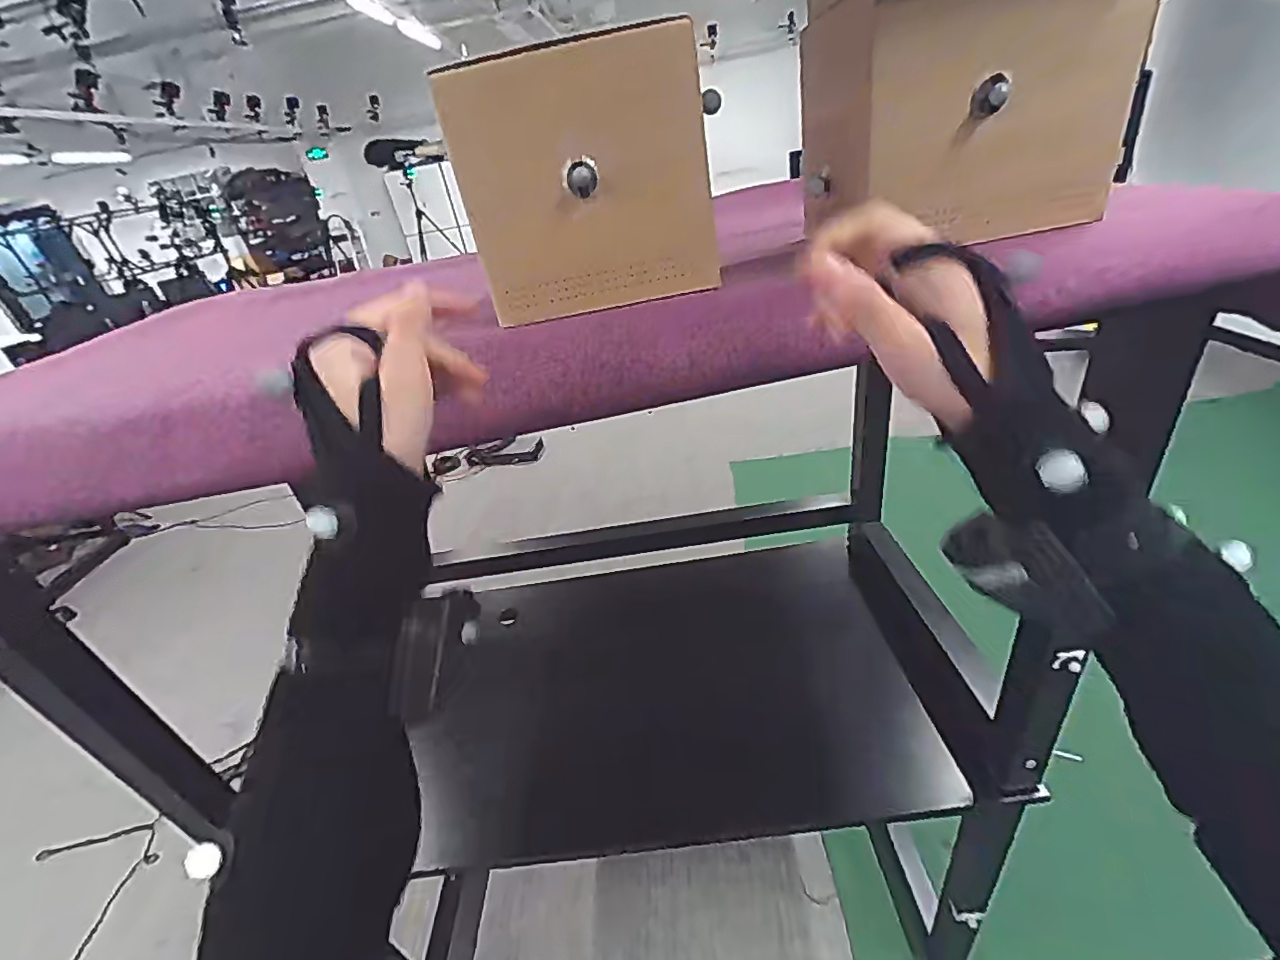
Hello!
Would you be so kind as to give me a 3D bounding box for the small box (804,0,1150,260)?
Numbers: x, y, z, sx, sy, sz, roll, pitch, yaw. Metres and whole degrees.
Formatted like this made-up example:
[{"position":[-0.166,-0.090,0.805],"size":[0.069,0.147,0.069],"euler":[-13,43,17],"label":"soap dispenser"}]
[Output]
[{"position":[0.237,-0.287,0.424],"size":[0.179,0.176,0.168],"euler":[-10,30,6],"label":"small box"}]
